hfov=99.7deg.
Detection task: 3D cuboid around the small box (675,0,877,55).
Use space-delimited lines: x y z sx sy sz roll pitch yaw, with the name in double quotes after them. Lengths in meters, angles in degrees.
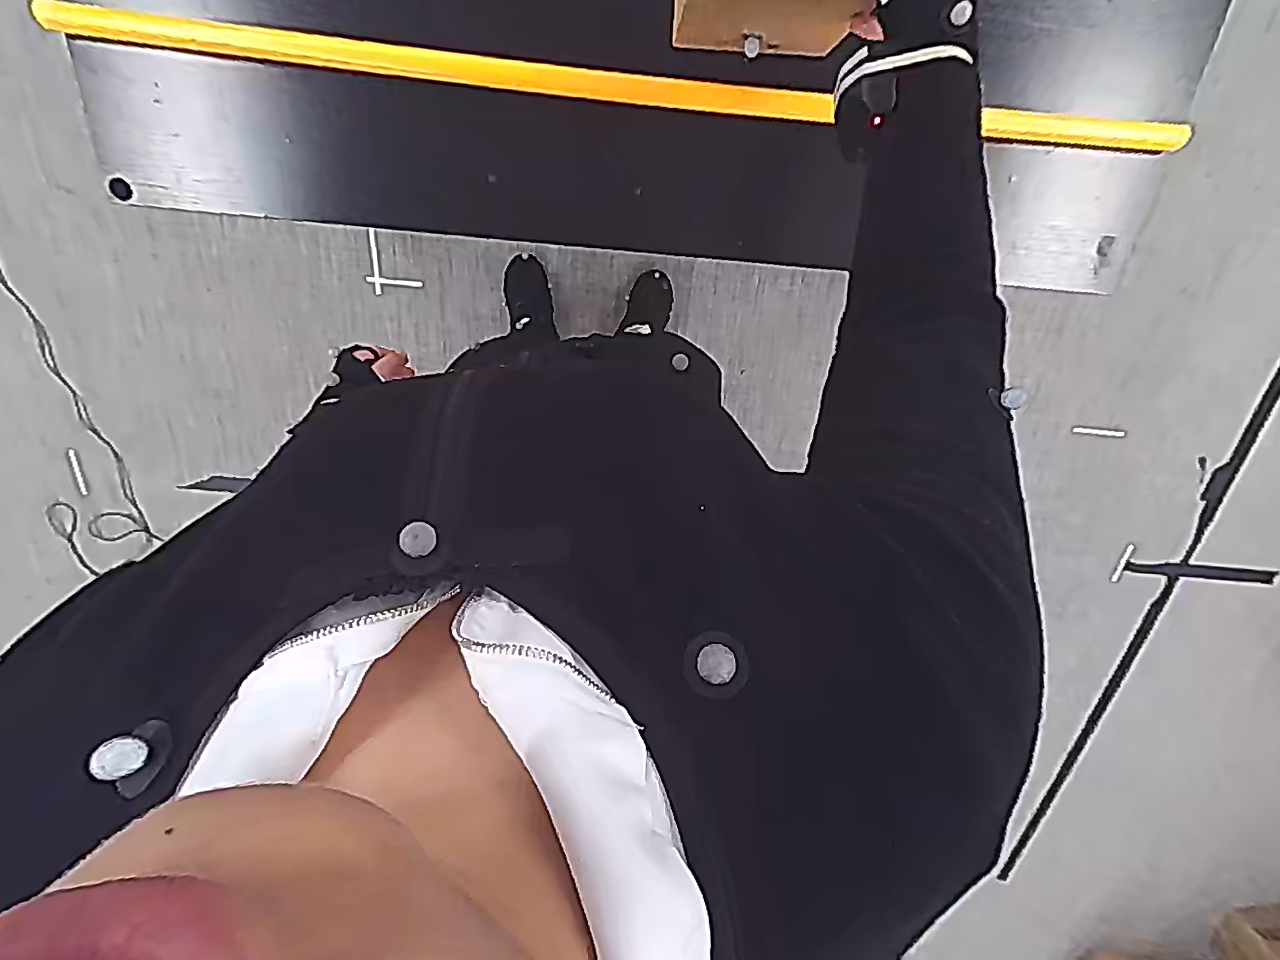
0.123 -0.510 0.472 0.168 0.176 0.179 2 114 -2 "small box"
